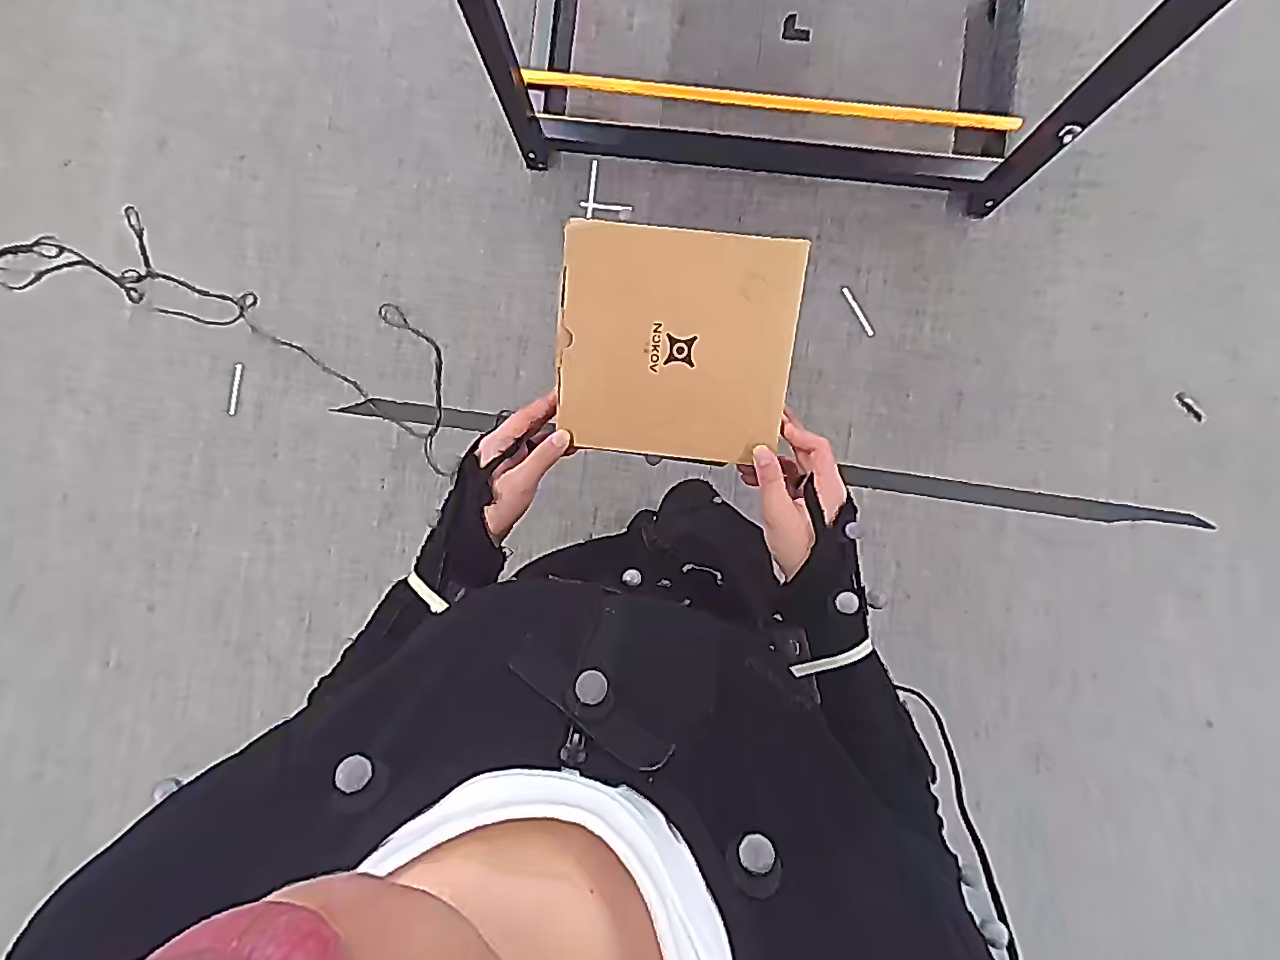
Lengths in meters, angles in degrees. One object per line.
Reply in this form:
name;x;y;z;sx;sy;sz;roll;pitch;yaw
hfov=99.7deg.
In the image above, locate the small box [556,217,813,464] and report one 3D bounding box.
small box;0.033;-0.120;0.475;0.179;0.176;0.168;6;105;3
